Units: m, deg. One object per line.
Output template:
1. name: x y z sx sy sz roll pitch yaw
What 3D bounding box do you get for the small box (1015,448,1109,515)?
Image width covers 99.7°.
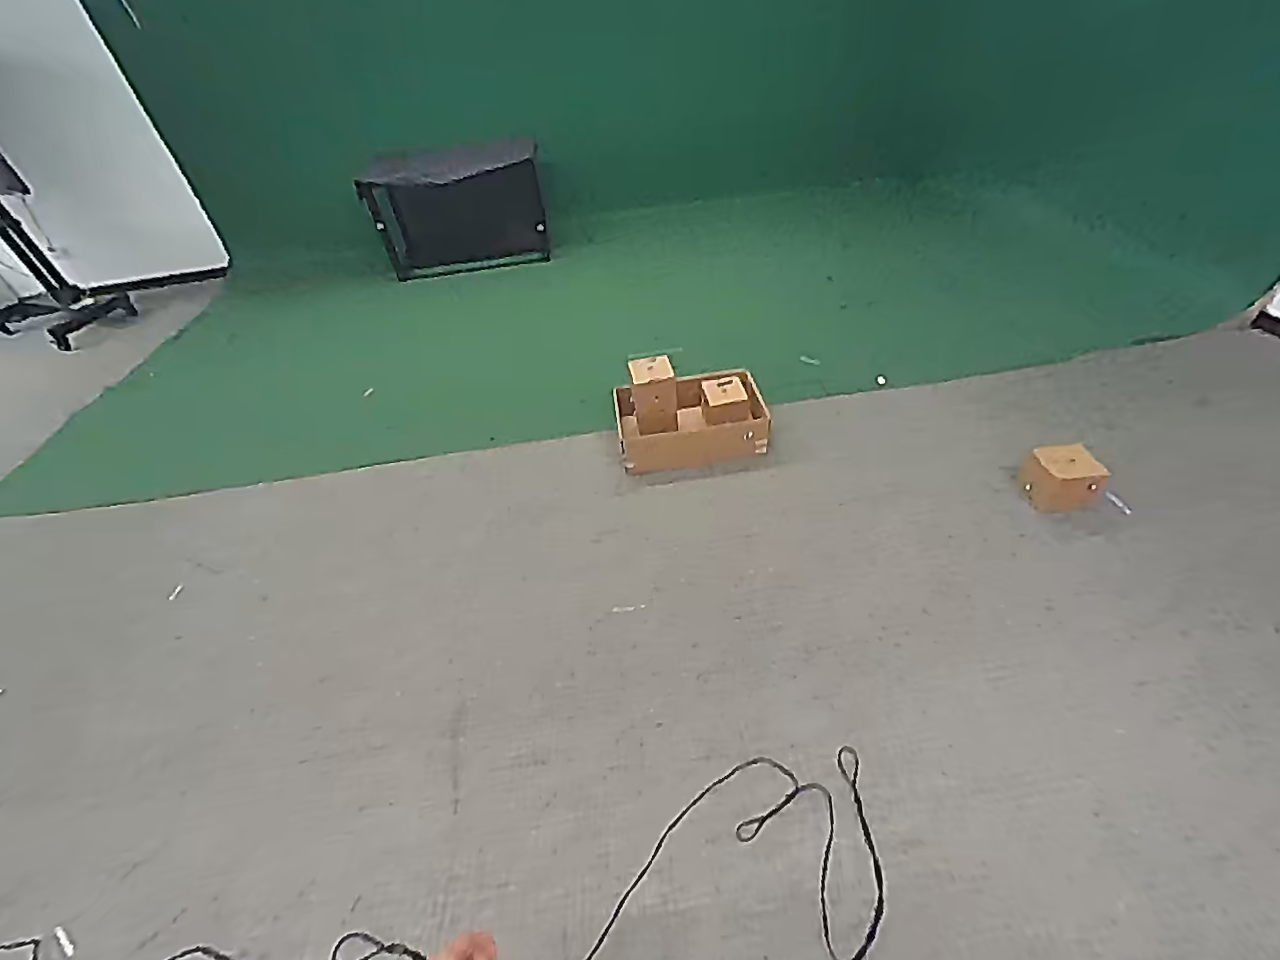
1. small box: 1.477 0.006 1.908 0.179 0.176 0.168 -5 41 3

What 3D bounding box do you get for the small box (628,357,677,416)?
1. small box: 0.053 -0.377 2.216 0.168 0.176 0.179 -10 44 -3

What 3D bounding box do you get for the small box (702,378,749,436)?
1. small box: 0.365 -0.315 2.345 0.168 0.176 0.179 -10 44 -2
